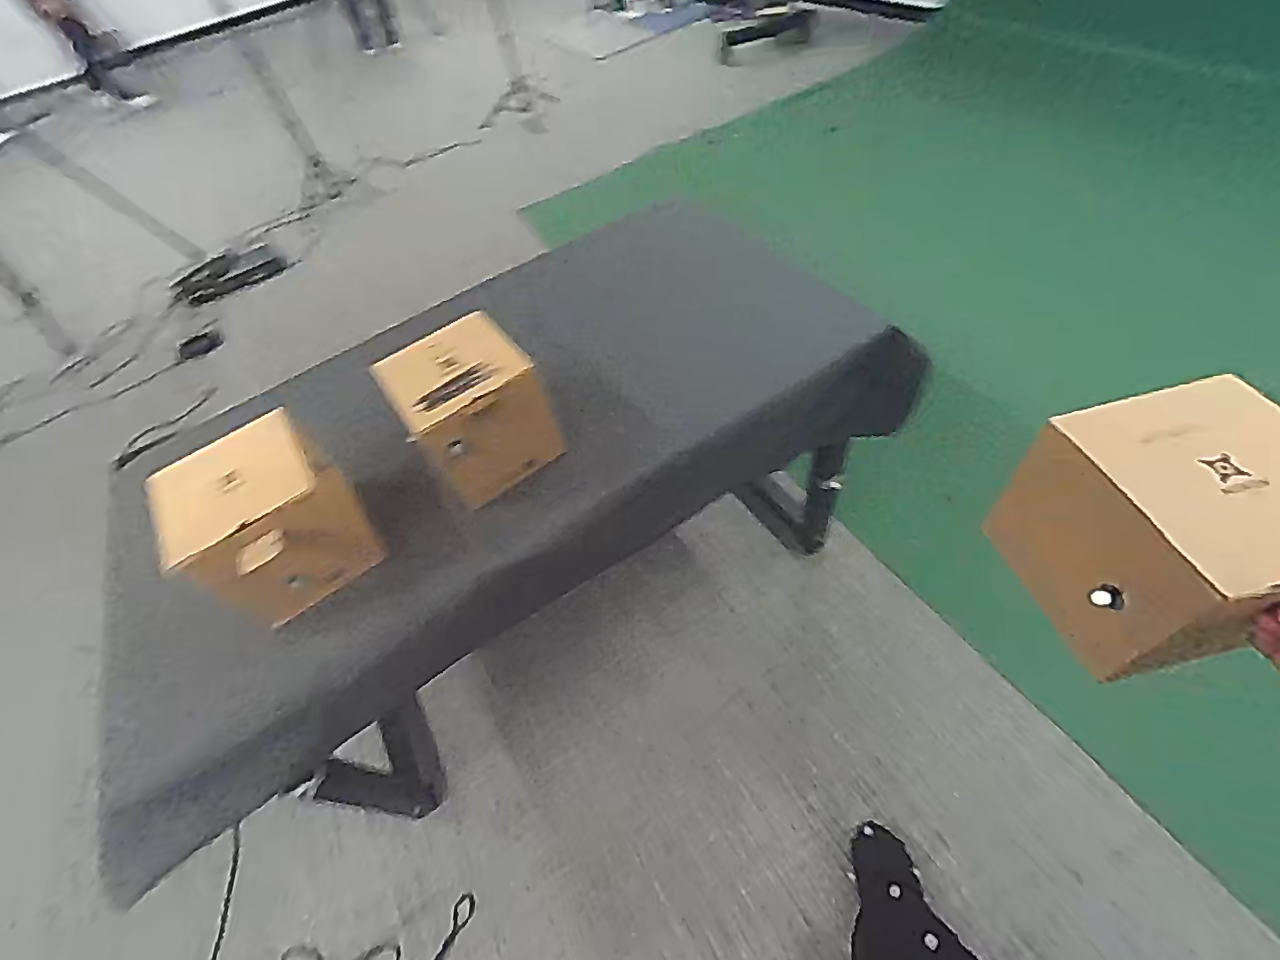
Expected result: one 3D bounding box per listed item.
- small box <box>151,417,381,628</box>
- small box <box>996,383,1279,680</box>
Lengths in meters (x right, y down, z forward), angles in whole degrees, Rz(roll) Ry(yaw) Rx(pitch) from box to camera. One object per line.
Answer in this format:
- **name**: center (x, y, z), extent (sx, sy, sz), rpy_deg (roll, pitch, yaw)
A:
- **small box**: center (-0.474, 0.057, 0.701), extent (0.168, 0.176, 0.179), rpy_deg (-35, 55, -17)
- **small box**: center (0.452, 0.051, 0.457), extent (0.168, 0.176, 0.179), rpy_deg (-13, 49, -2)
